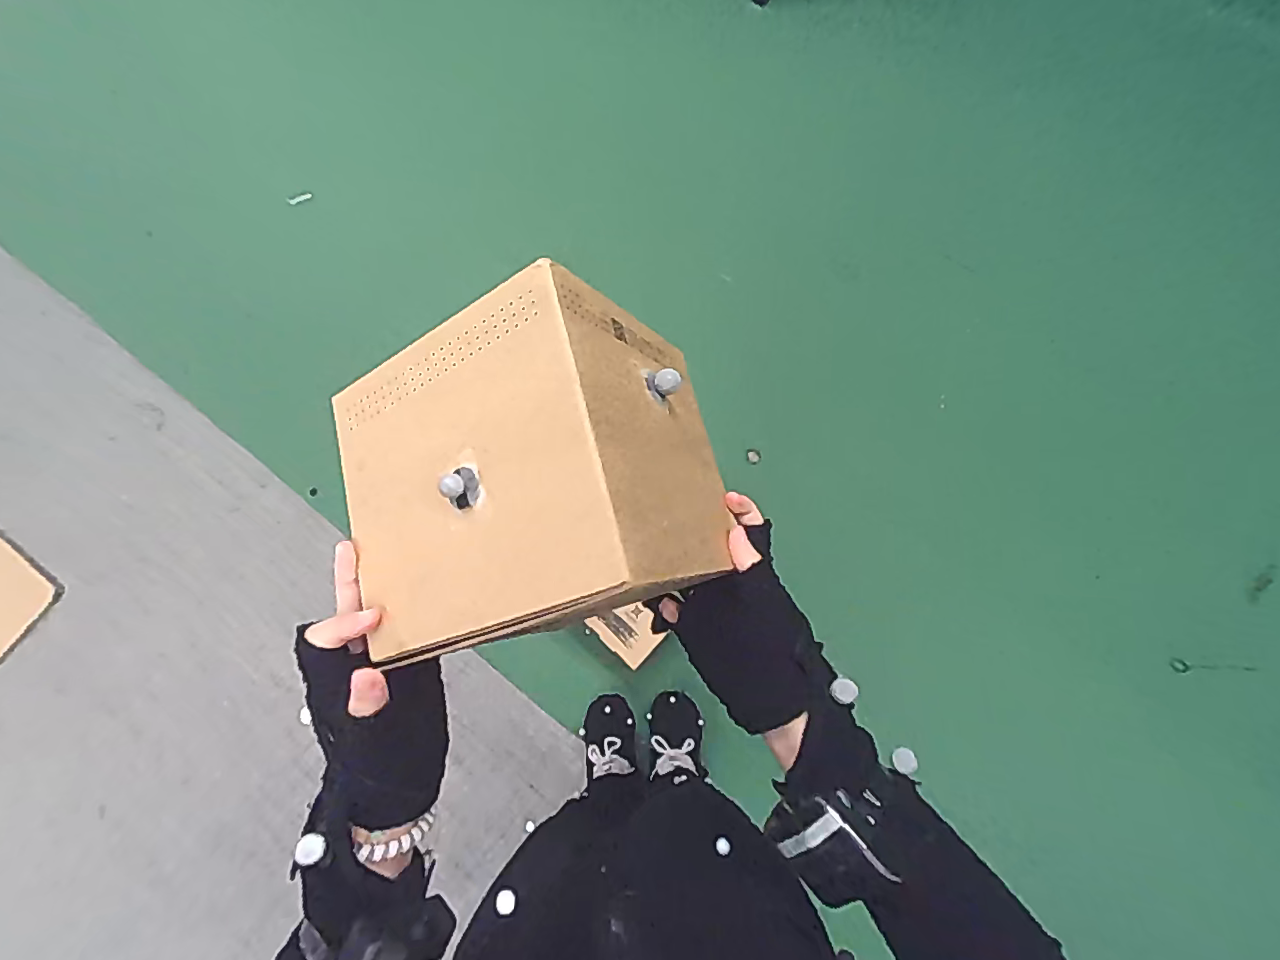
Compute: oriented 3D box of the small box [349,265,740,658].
[{"bbox_3d":[-0.062,0.000,0.351,0.179,0.168,0.176,-22,76,26],"label":"small box"}]
